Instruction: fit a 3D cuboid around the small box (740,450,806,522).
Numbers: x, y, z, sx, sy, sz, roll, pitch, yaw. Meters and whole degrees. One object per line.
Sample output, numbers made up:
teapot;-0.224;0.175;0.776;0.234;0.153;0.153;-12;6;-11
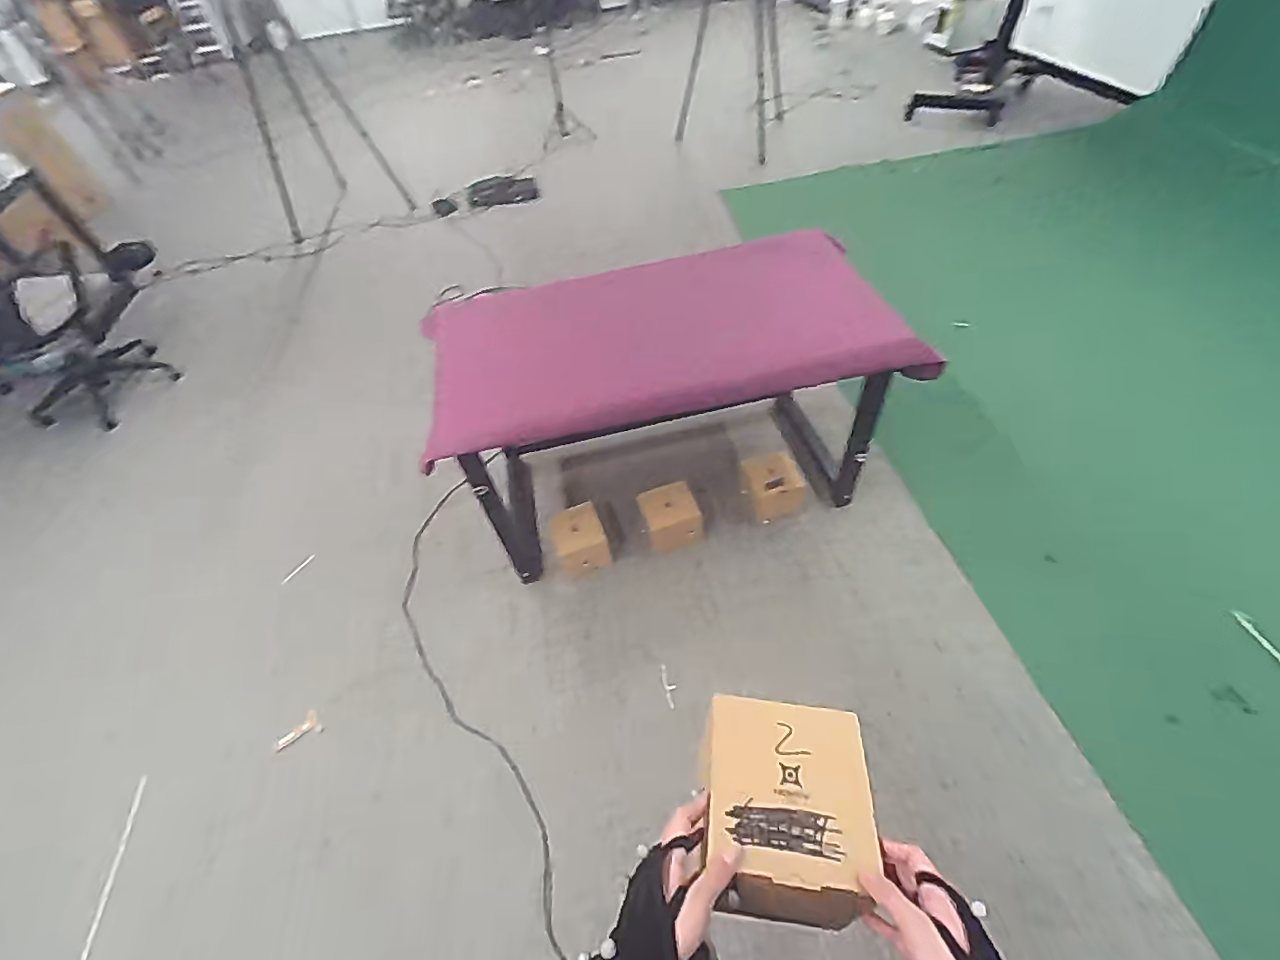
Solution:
small box;0.460;0.028;1.890;0.168;0.176;0.179;-14;50;-6

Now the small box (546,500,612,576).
small box;-0.201;0.202;1.824;0.168;0.176;0.179;-19;51;-9

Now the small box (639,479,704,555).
small box;0.108;0.129;1.850;0.179;0.176;0.168;-18;50;-7
